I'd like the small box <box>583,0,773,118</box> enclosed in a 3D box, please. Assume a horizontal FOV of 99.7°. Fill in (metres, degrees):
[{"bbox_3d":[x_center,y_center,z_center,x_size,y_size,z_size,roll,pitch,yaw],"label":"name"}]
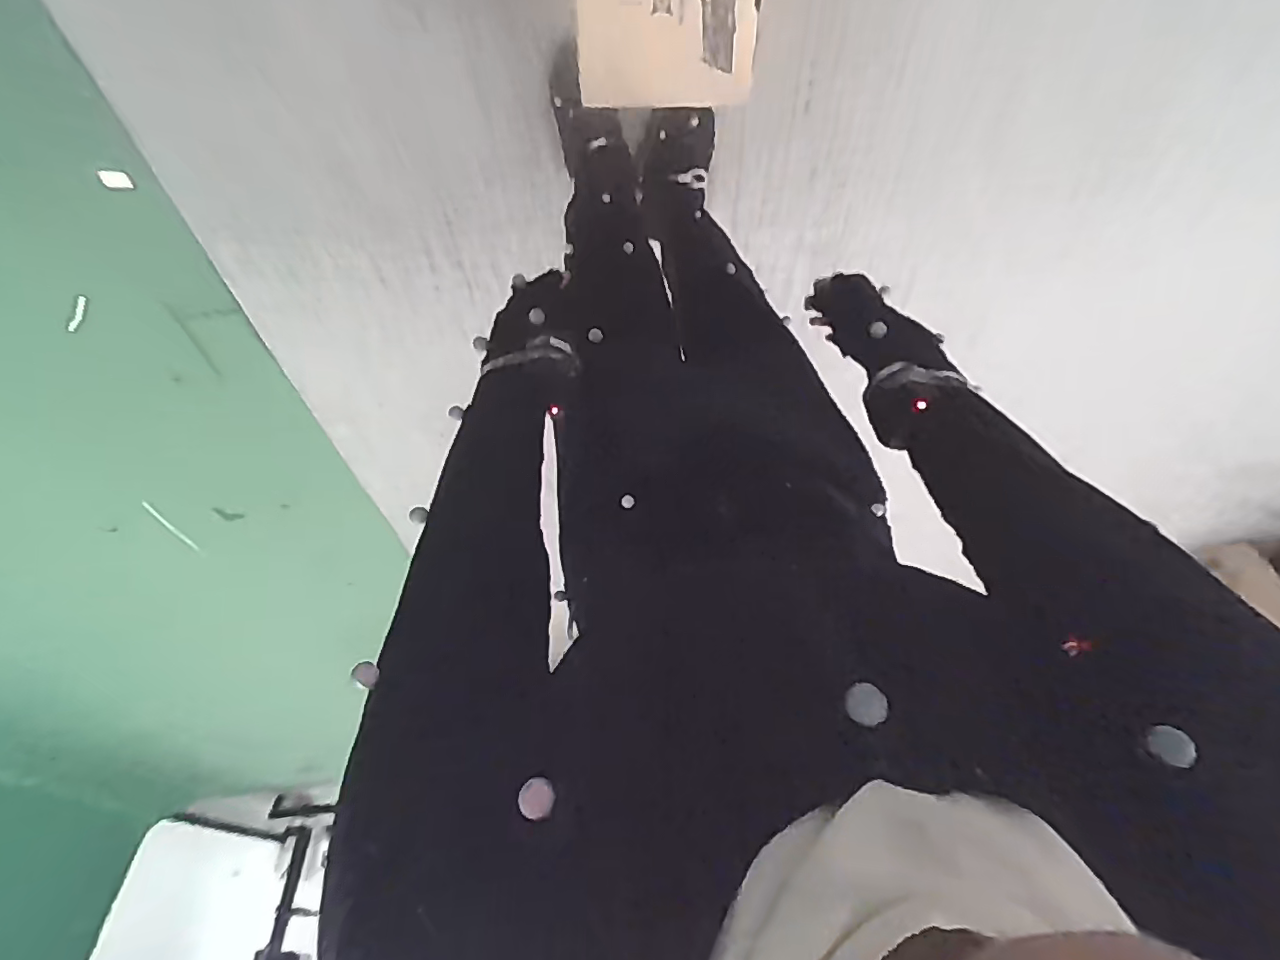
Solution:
[{"bbox_3d":[0.031,-0.500,0.557,0.179,0.176,0.168,-5,140,-2],"label":"small box"}]
